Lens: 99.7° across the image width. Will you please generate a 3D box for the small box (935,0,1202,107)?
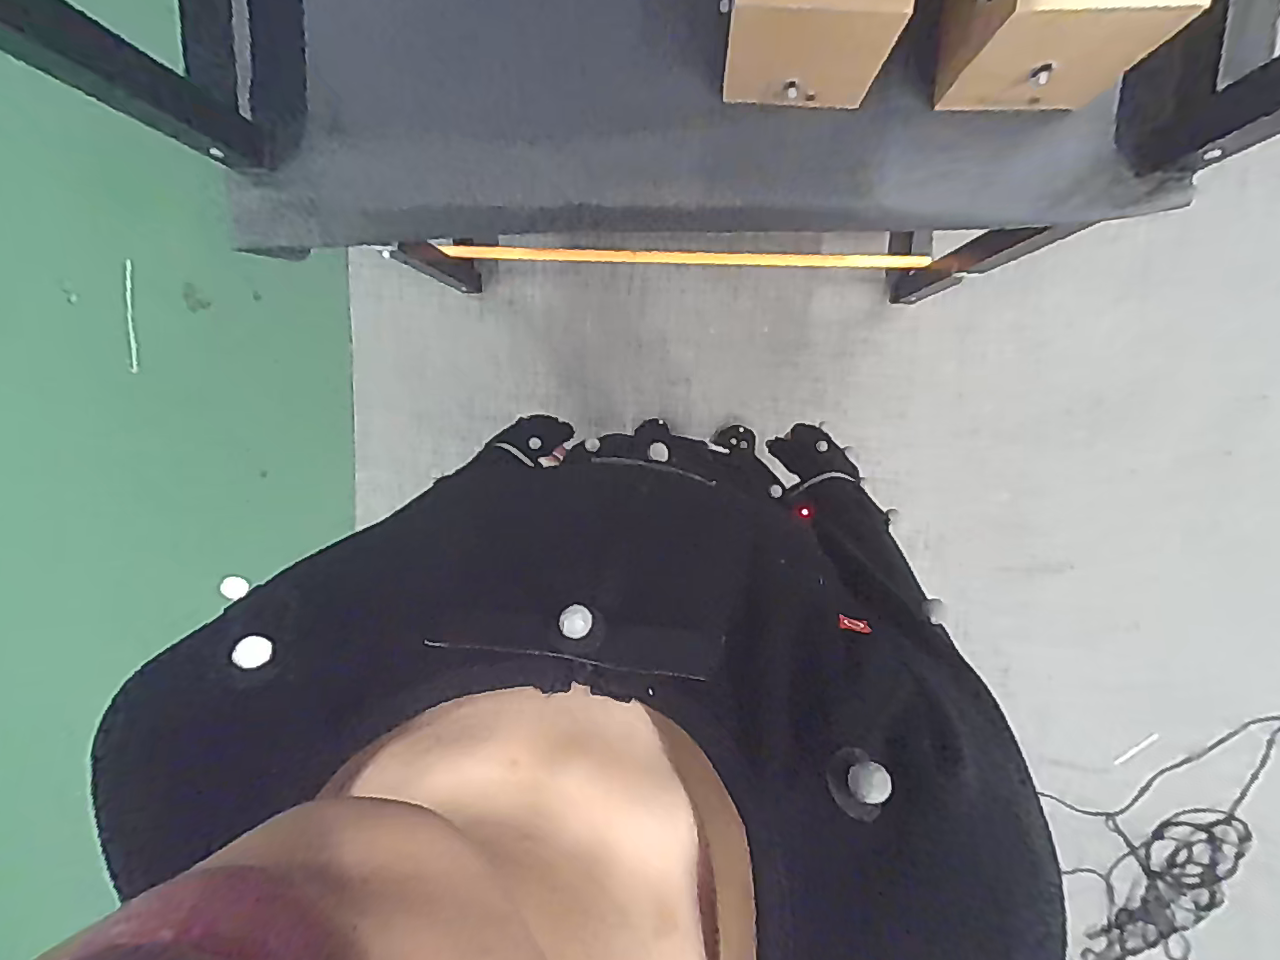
[{"bbox_3d":[0.427,-0.515,0.554,0.168,0.176,0.179,3,97,4],"label":"small box"}]
